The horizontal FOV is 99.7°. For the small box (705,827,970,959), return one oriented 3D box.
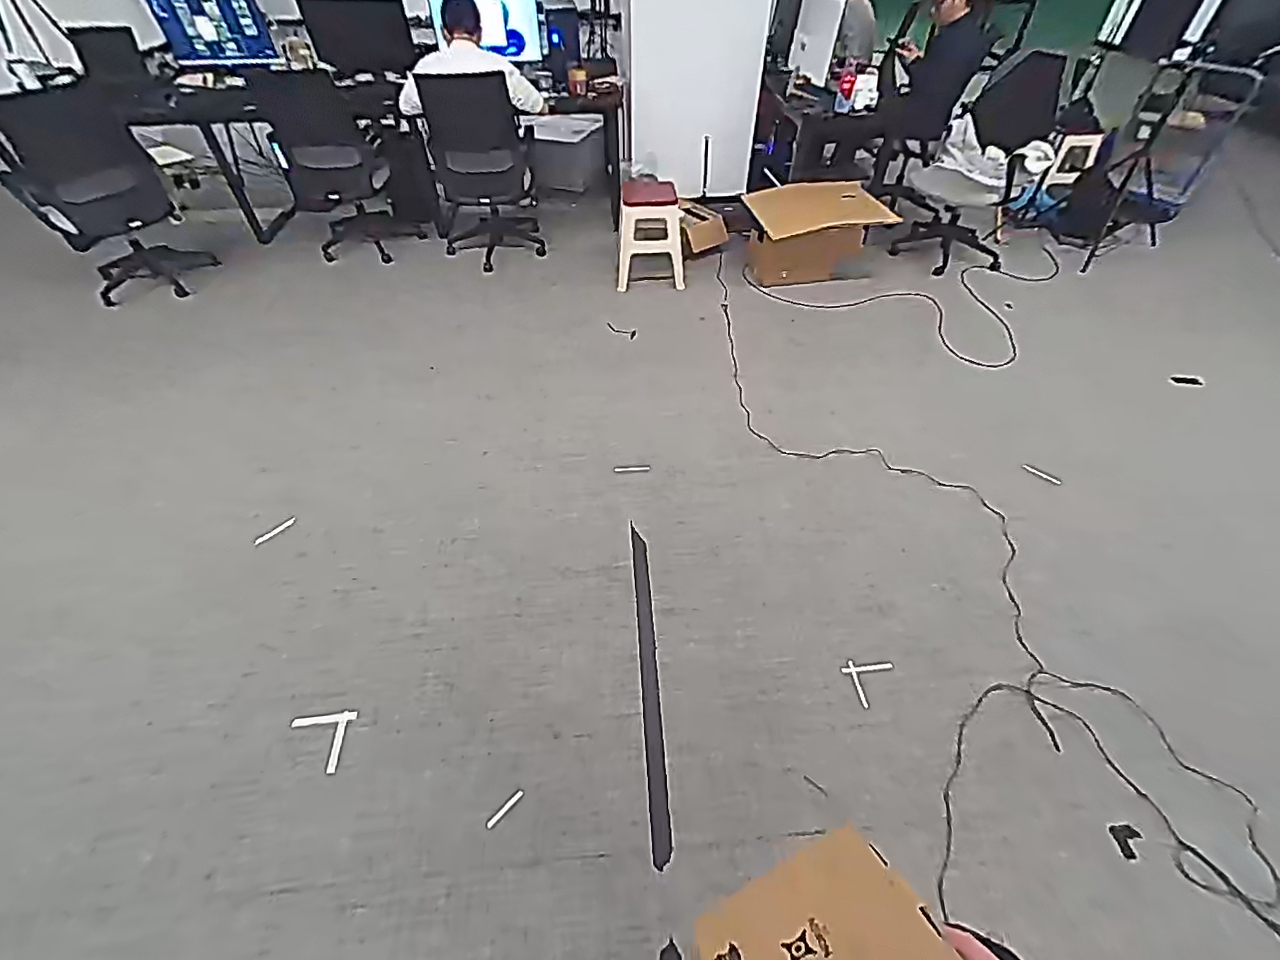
[{"bbox_3d":[0.178,0.438,0.430,0.179,0.168,0.176,-27,90,-5],"label":"small box"}]
